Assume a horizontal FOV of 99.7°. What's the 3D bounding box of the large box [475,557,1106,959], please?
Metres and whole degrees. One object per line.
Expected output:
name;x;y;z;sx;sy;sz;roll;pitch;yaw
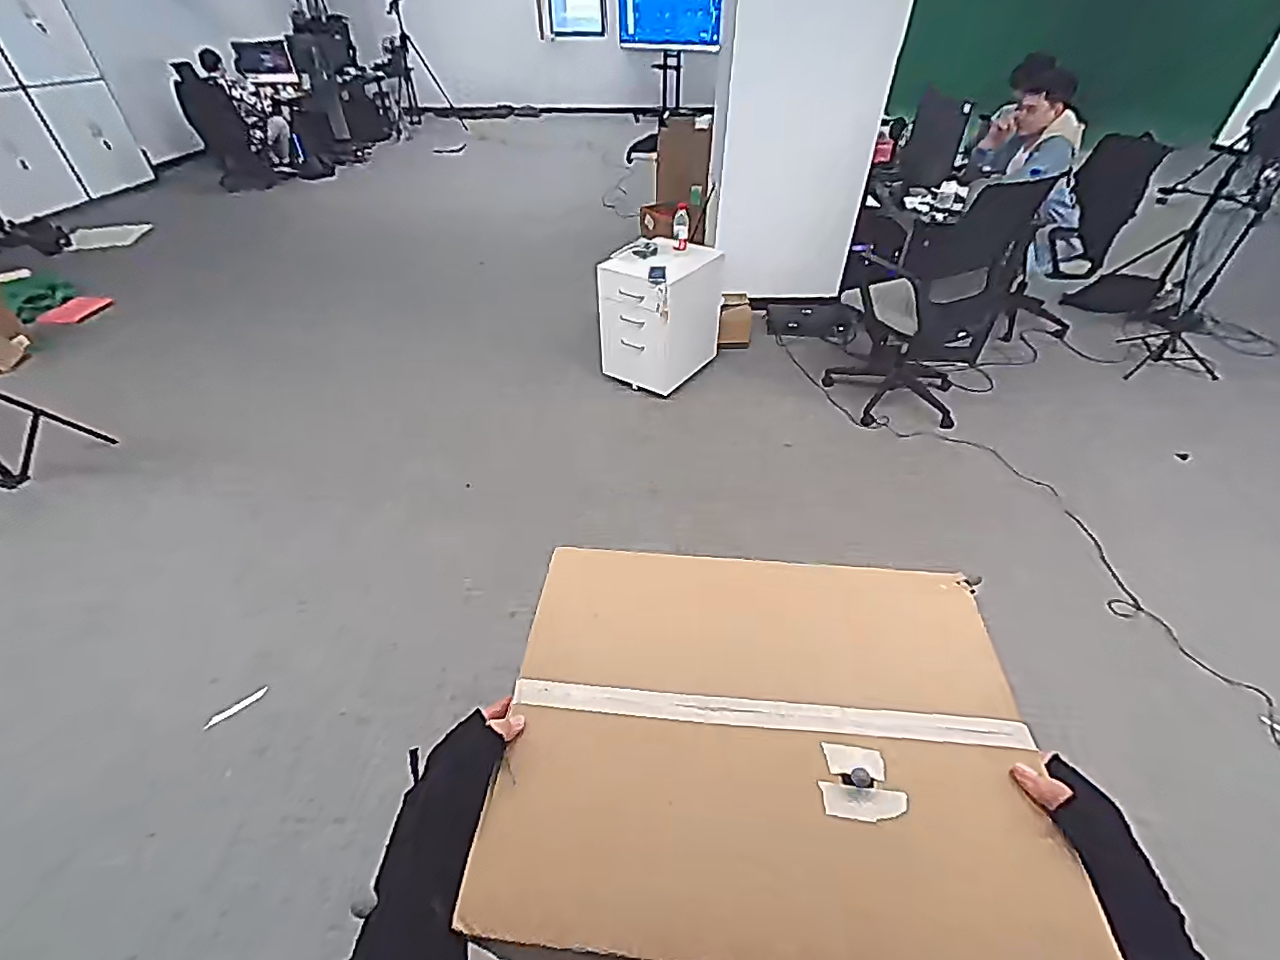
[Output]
large box;0.102;0.302;0.544;0.408;0.320;0.320;3;45;5
